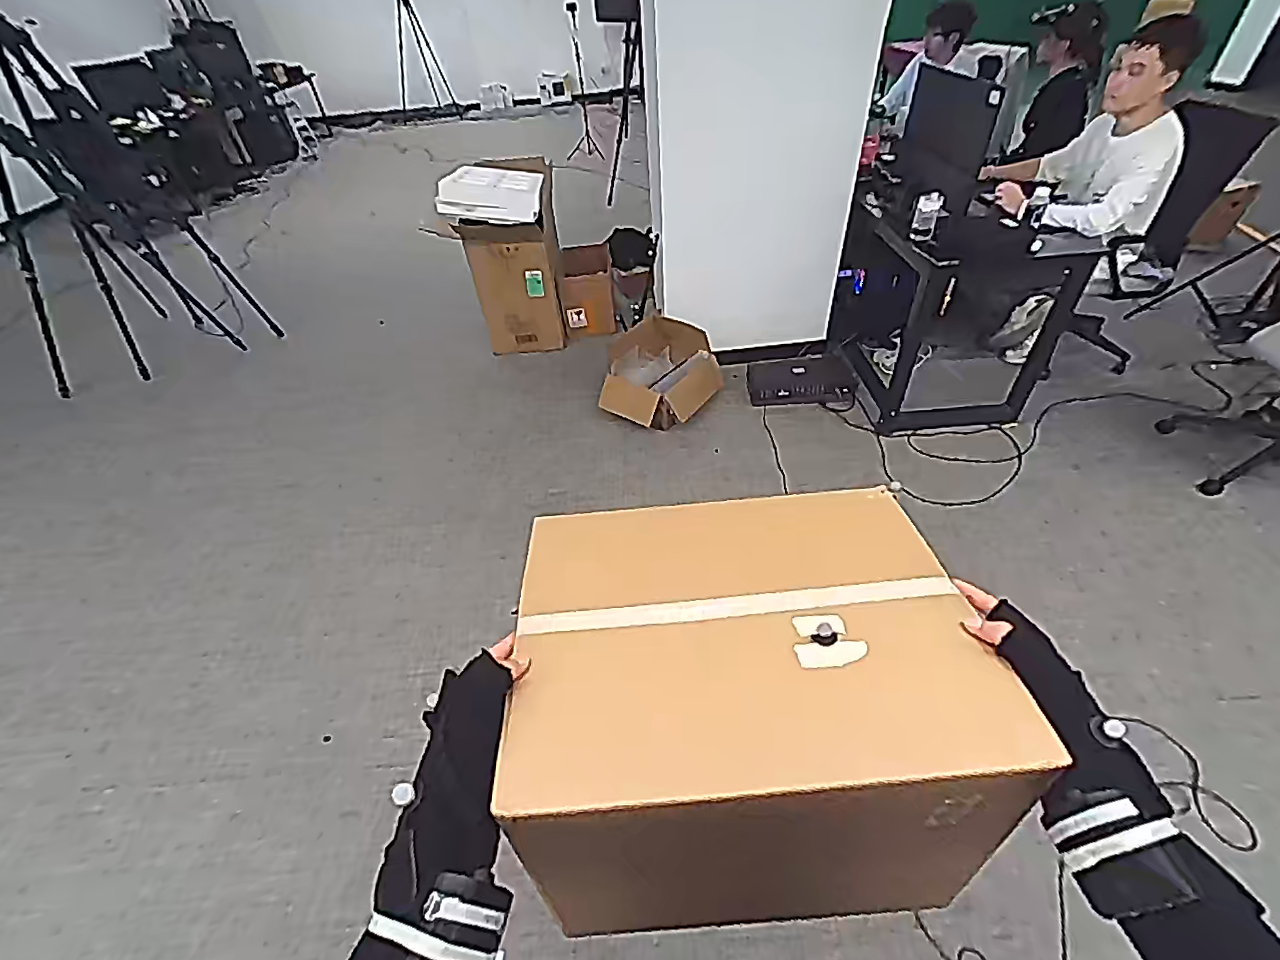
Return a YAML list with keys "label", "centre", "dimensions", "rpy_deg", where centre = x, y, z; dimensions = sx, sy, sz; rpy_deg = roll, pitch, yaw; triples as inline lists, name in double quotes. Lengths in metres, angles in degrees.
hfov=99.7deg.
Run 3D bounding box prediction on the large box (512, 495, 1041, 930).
- label: "large box"
  centre: [0.102, 0.246, 0.602]
  dimensions: [0.408, 0.320, 0.320]
  rpy_deg: [-5, 37, 0]
